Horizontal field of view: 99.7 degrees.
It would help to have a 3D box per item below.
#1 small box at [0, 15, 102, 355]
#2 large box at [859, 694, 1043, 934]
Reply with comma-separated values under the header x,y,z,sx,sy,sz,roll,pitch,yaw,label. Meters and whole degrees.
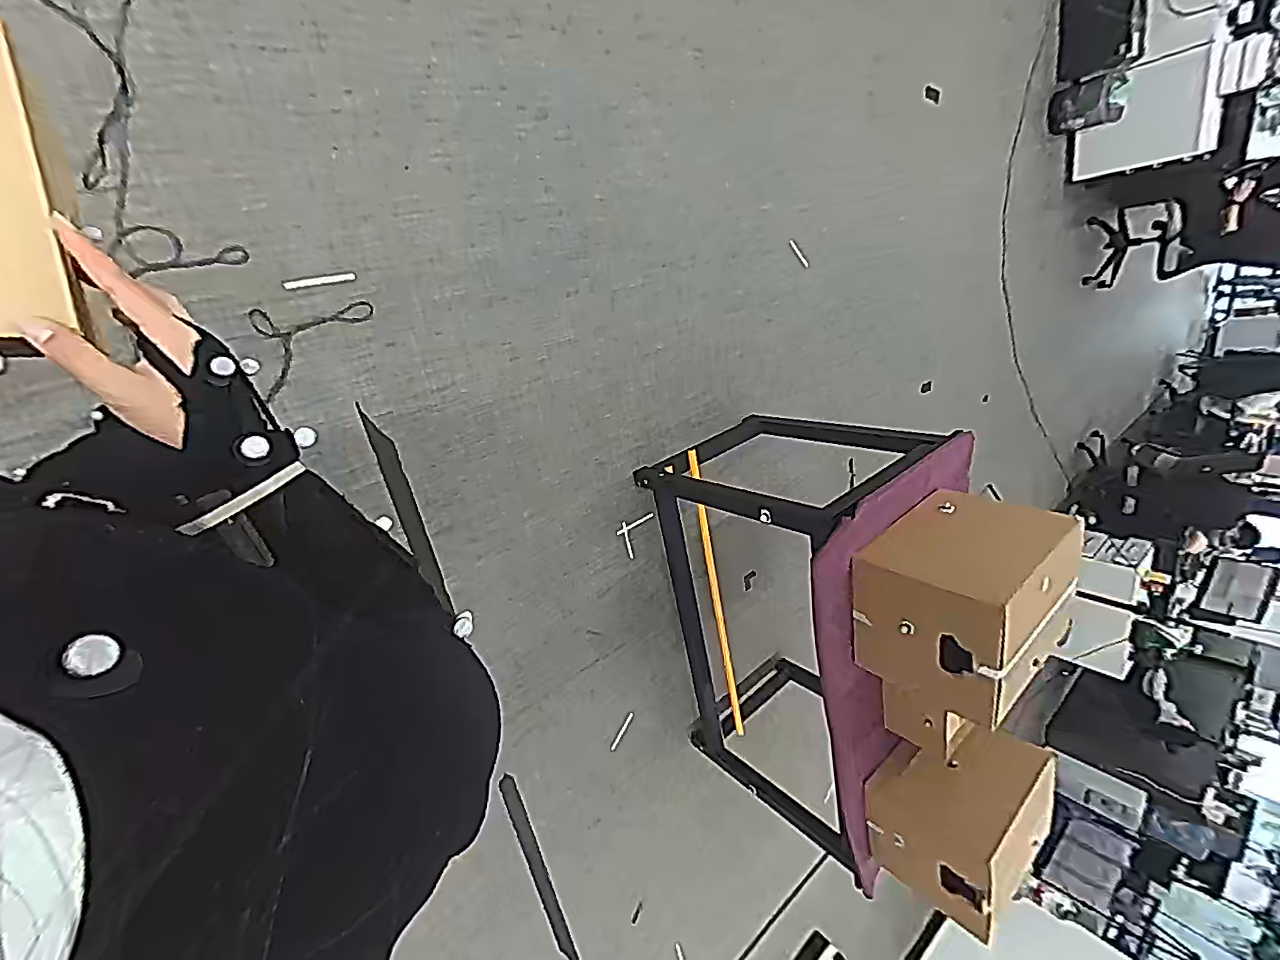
x,y,z,sx,sy,sz,roll,pitch,yaw,label
-0.438,-0.158,0.302,0.179,0.176,0.168,-12,104,-39,small box
0.862,0.891,1.503,0.408,0.320,0.320,-27,116,-33,large box
